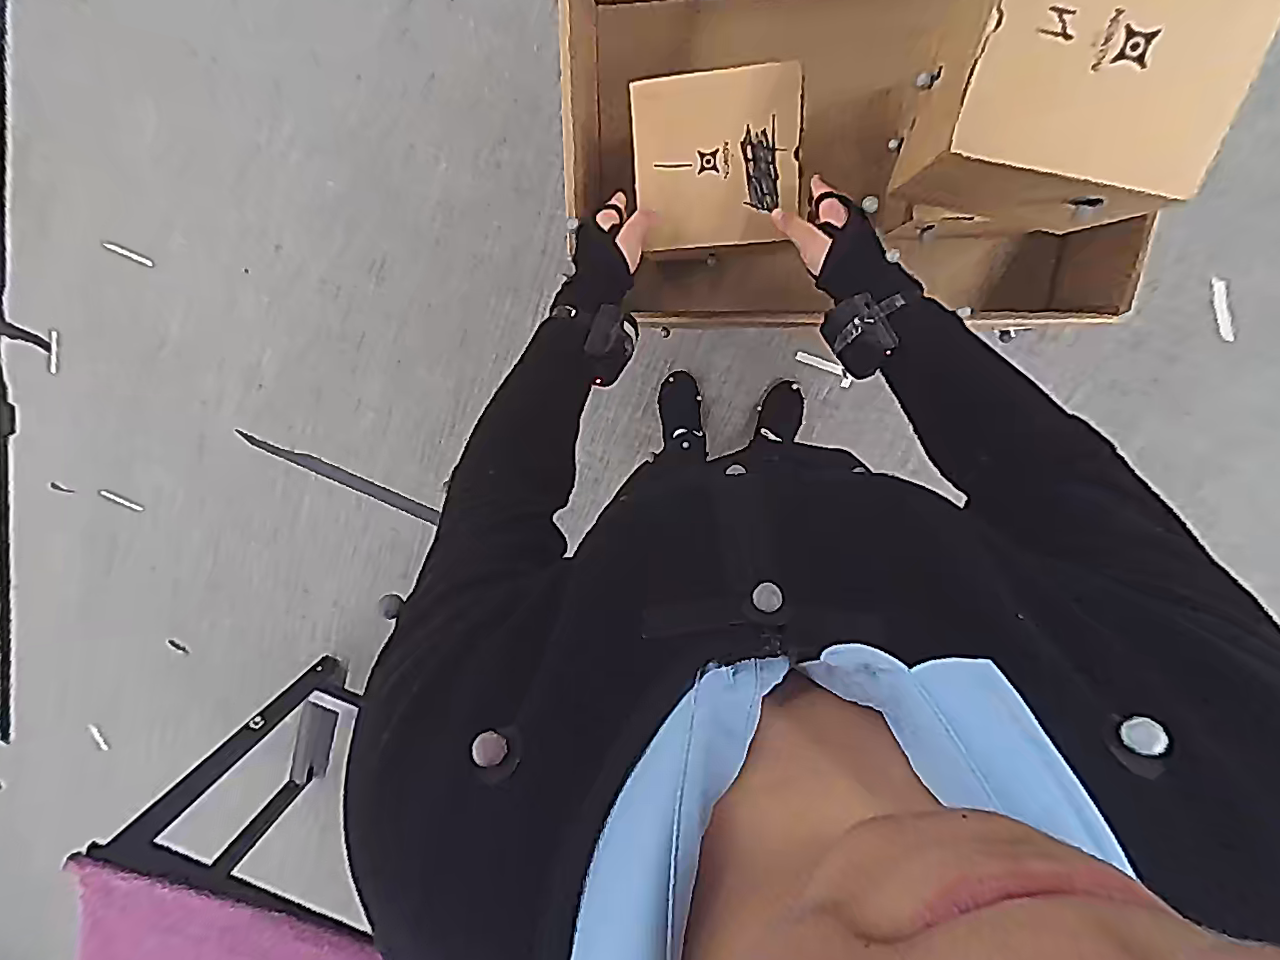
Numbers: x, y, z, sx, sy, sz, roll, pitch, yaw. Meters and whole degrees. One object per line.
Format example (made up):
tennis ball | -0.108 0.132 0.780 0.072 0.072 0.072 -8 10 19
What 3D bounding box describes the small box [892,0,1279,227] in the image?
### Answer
small box | 0.339 -0.318 0.441 0.179 0.176 0.168 16 108 6
